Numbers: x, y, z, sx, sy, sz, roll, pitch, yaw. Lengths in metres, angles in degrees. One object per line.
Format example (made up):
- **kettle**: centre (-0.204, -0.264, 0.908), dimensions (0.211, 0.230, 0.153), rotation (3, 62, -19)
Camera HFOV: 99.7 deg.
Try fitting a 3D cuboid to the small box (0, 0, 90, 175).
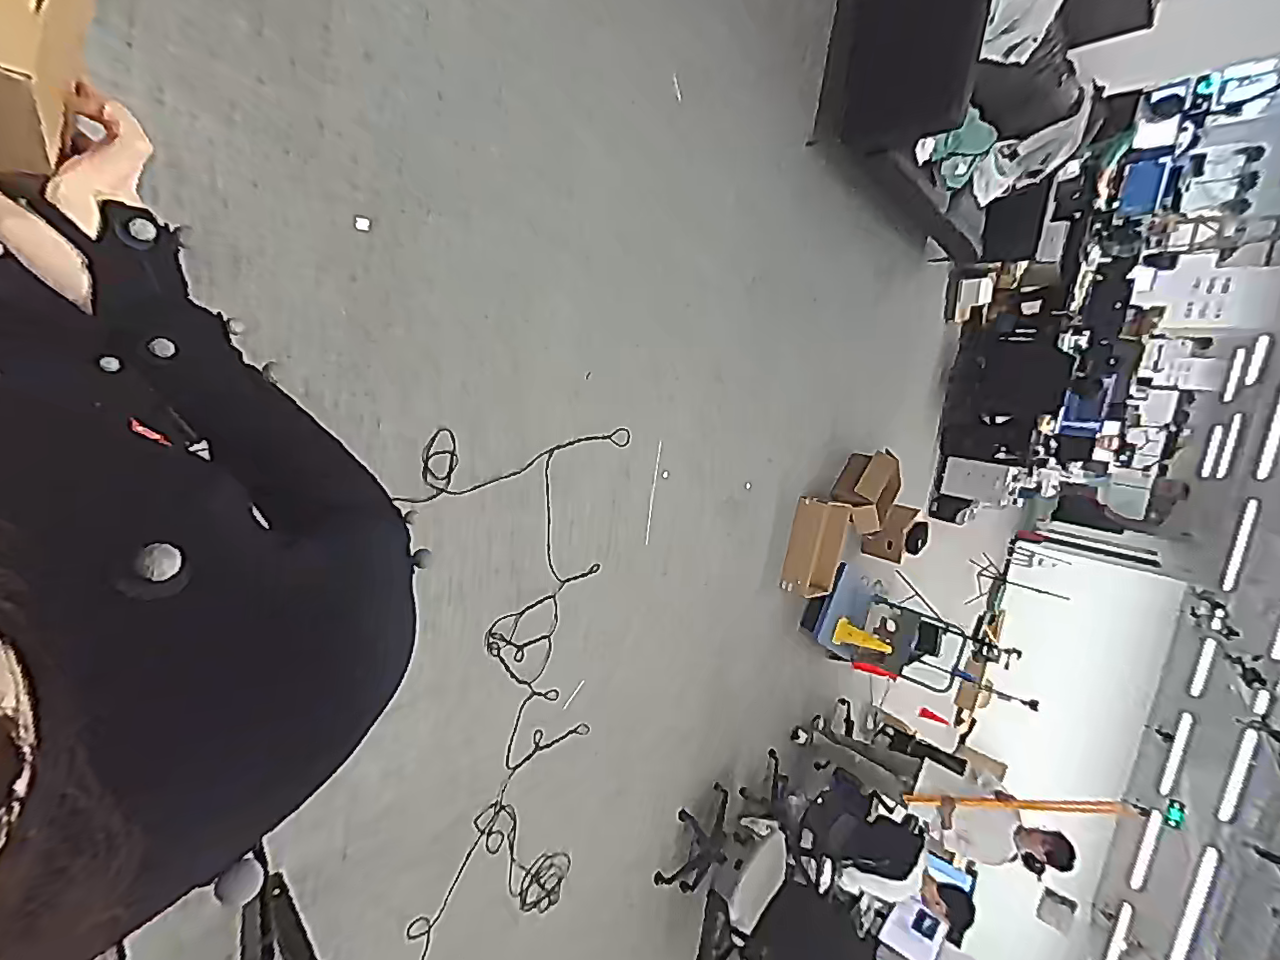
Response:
- **small box**: centre (-0.376, -0.271, 0.241), dimensions (0.179, 0.176, 0.168), rotation (6, 87, -43)
